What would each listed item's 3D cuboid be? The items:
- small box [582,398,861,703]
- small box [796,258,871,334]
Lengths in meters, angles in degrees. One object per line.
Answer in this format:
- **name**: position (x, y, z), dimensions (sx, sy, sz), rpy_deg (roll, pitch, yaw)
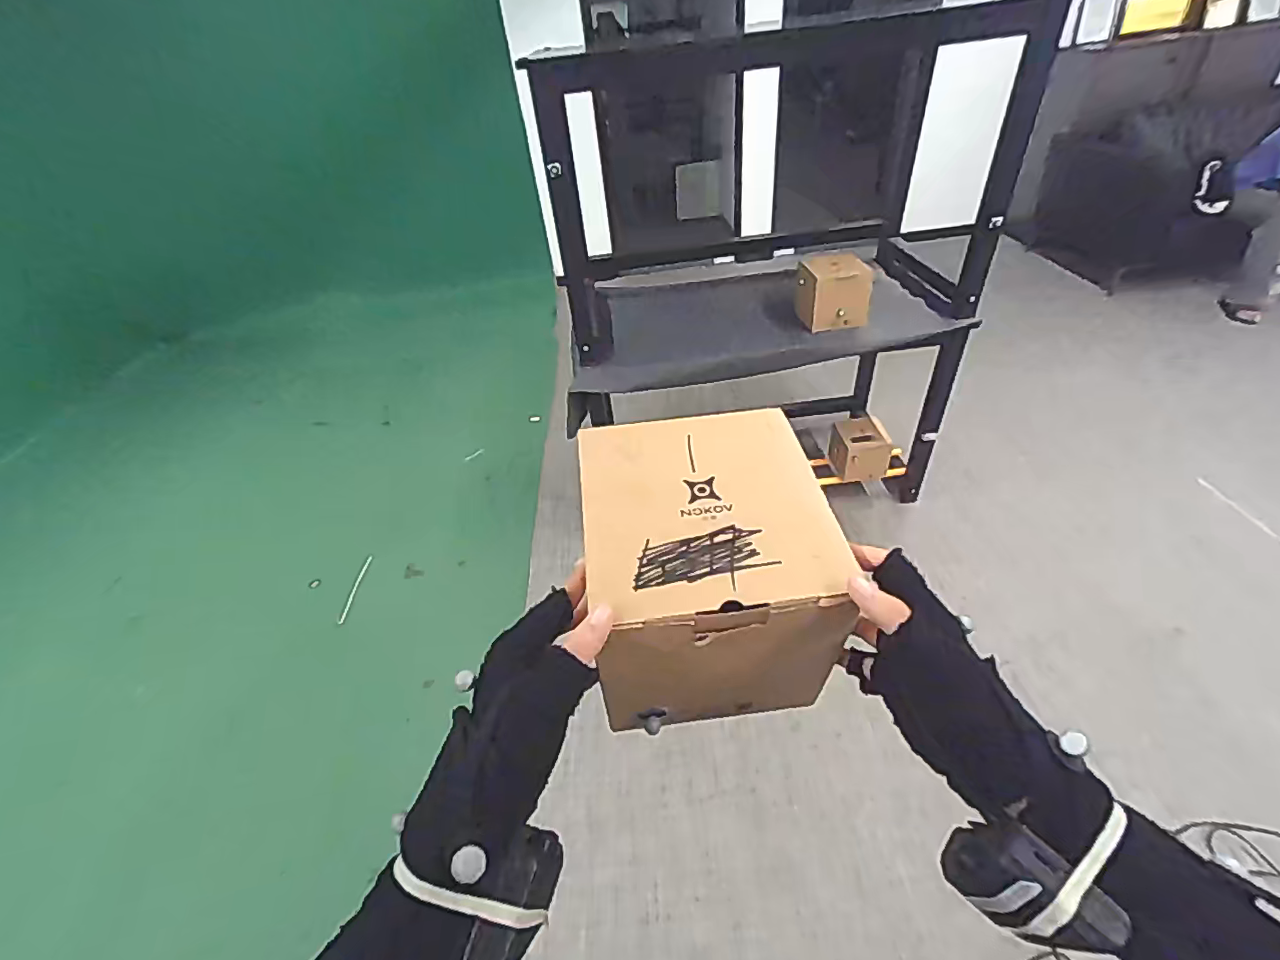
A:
- **small box**: position (0.047, 0.061, 0.431), dimensions (0.168, 0.176, 0.179), rpy_deg (-6, 46, -3)
- **small box**: position (0.590, -0.569, 1.673), dimensions (0.168, 0.176, 0.179), rpy_deg (-8, 39, 0)
